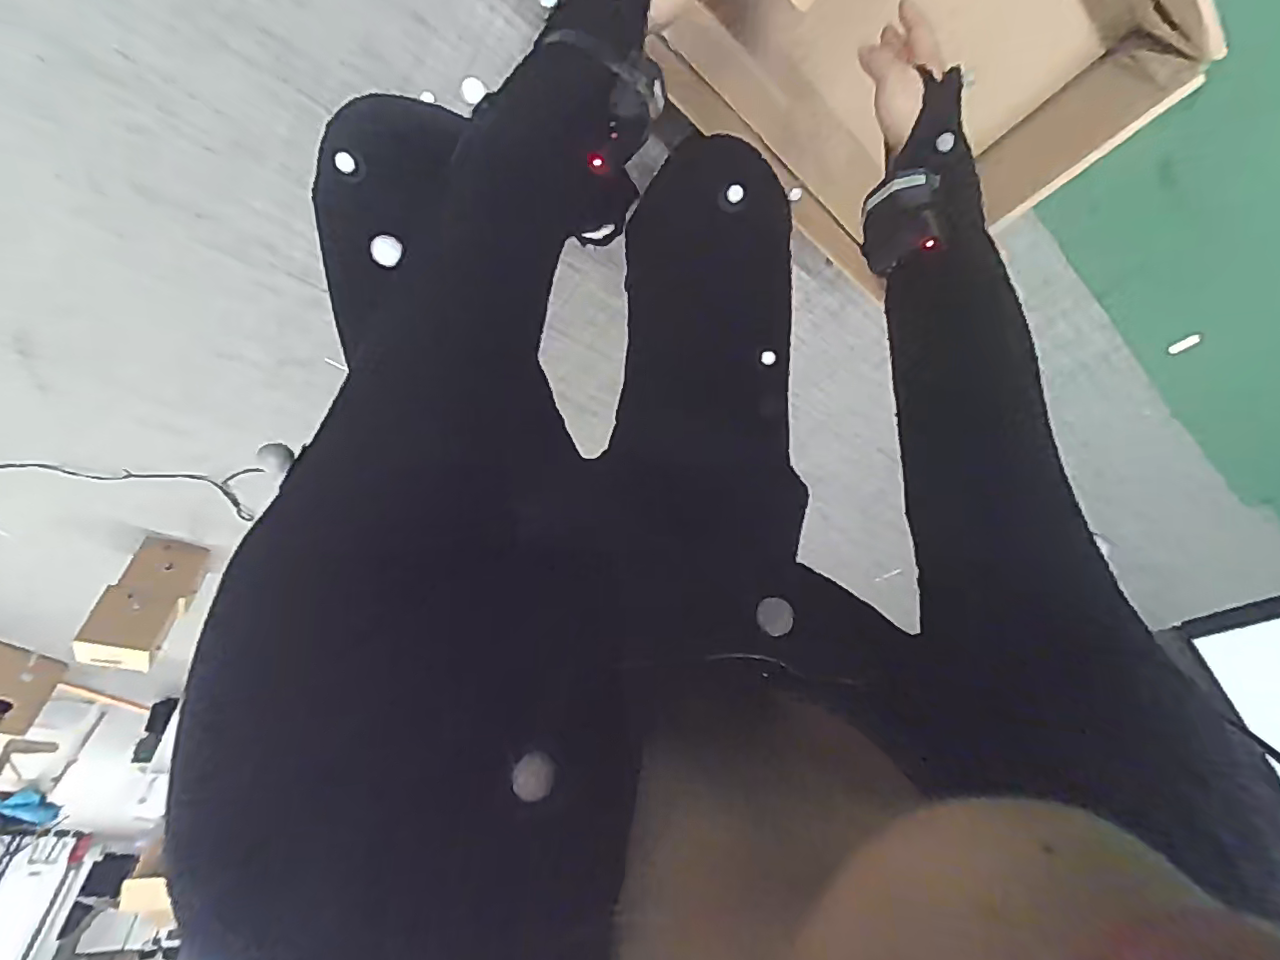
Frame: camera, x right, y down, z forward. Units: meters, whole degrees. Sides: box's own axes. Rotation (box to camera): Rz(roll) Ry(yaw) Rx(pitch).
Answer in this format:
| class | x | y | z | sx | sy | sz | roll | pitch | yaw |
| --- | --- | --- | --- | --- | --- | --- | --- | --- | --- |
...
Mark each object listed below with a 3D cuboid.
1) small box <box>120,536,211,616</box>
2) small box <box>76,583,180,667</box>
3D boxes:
| class | x | y | z | sx | sy | sz | roll | pitch | yaw |
| --- | --- | --- | --- | --- | --- | --- | --- | --- | --- |
| small box | -1.452 | 0.295 | 1.660 | 0.168 | 0.176 | 0.179 | 22 | 137 | -27 |
| small box | -1.458 | 0.417 | 1.550 | 0.168 | 0.176 | 0.179 | 22 | 136 | -28 |
